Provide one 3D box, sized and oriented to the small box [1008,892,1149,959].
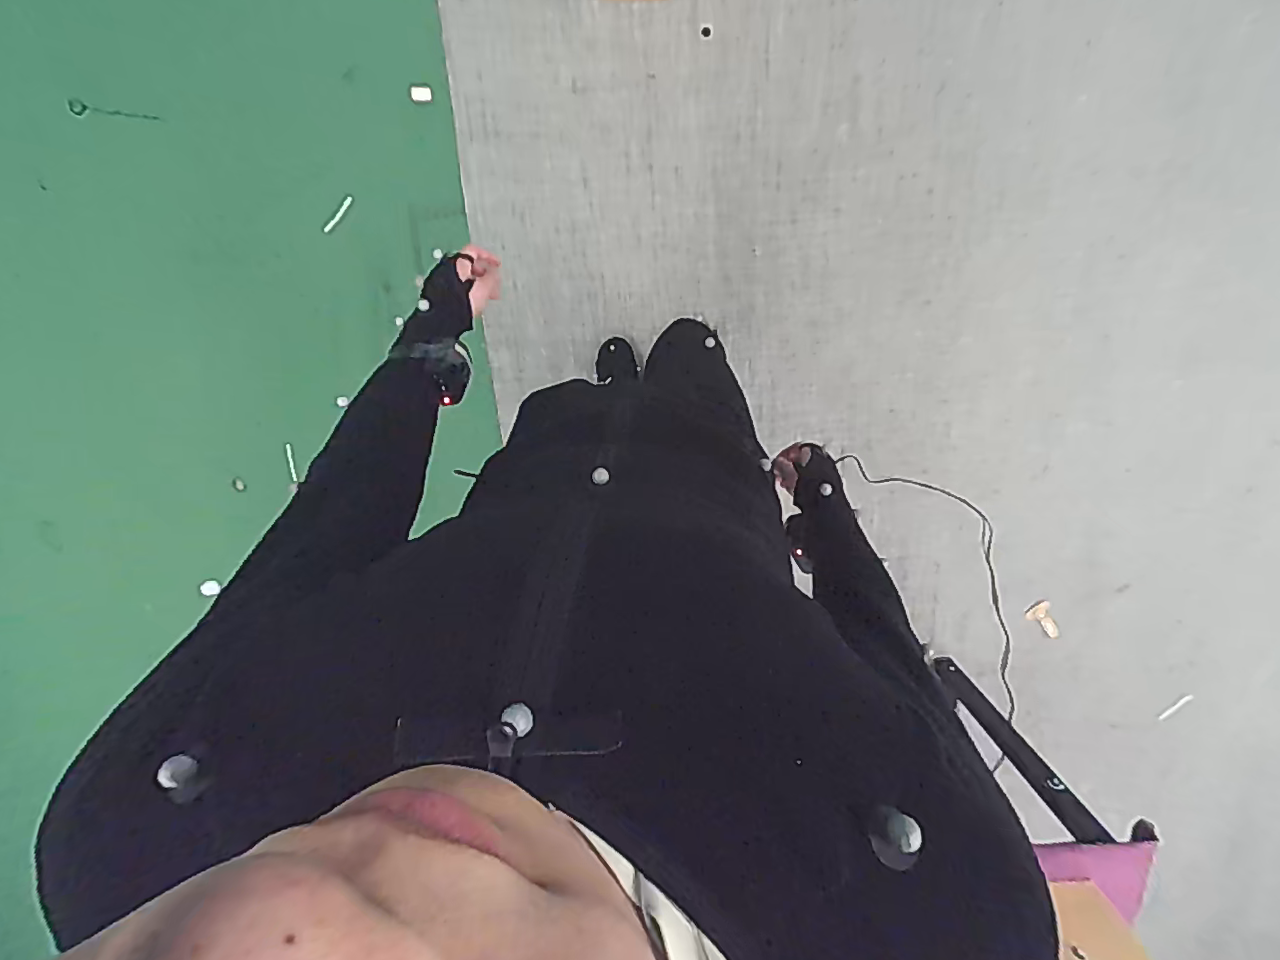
[{"bbox_3d":[0.884,0.962,1.079,0.179,0.176,0.168,-5,108,3],"label":"small box"}]
